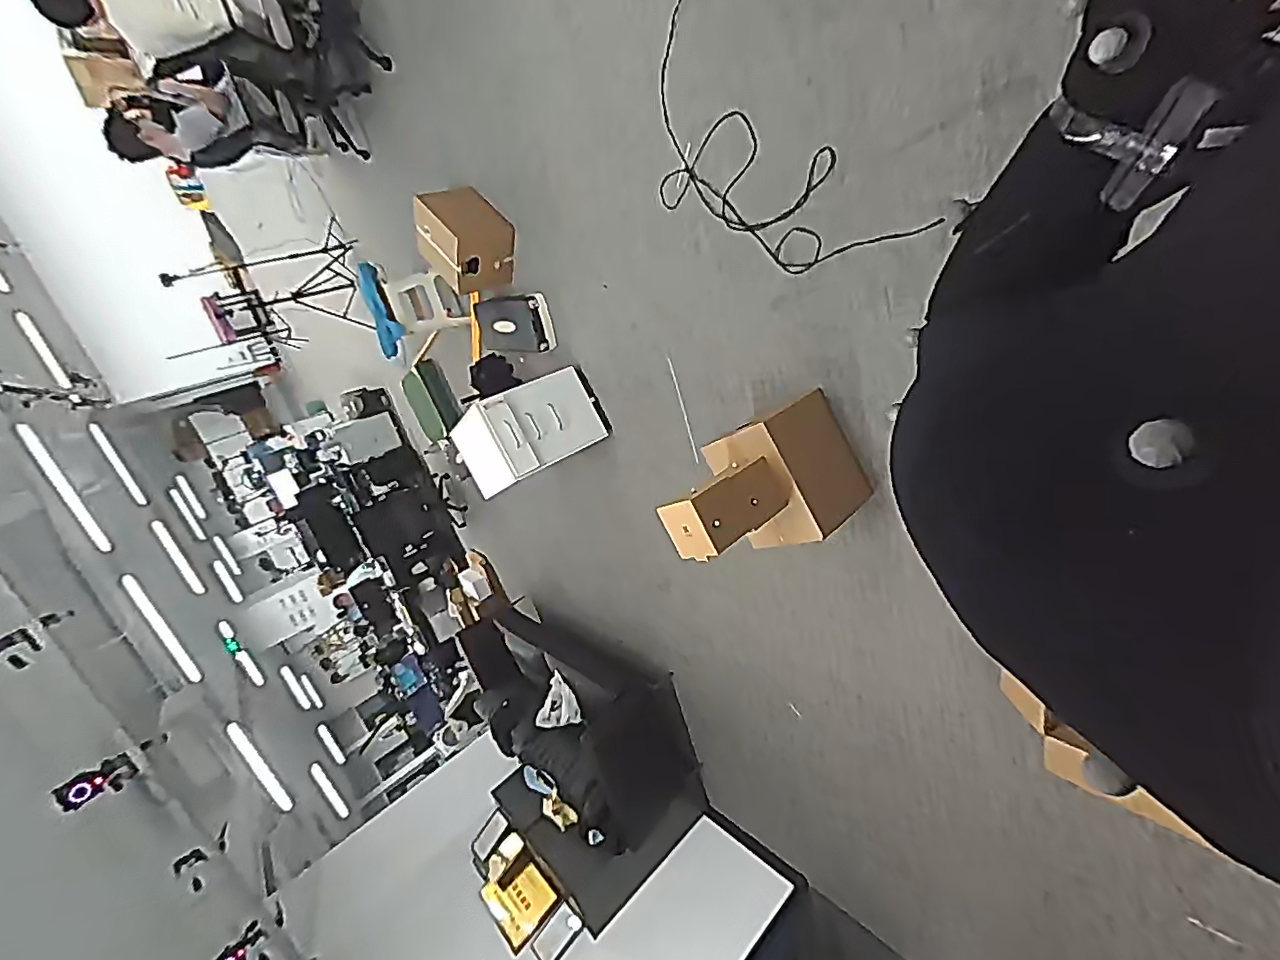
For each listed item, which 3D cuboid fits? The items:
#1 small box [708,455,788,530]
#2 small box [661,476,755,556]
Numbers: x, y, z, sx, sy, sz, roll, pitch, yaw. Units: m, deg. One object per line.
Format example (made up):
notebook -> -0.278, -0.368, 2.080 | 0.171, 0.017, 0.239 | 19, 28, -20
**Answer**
small box -> 0.324, 0.046, 1.672 | 0.168, 0.176, 0.179 | -21, 97, 56
small box -> 0.201, 0.102, 1.582 | 0.168, 0.176, 0.179 | -20, 99, 56
